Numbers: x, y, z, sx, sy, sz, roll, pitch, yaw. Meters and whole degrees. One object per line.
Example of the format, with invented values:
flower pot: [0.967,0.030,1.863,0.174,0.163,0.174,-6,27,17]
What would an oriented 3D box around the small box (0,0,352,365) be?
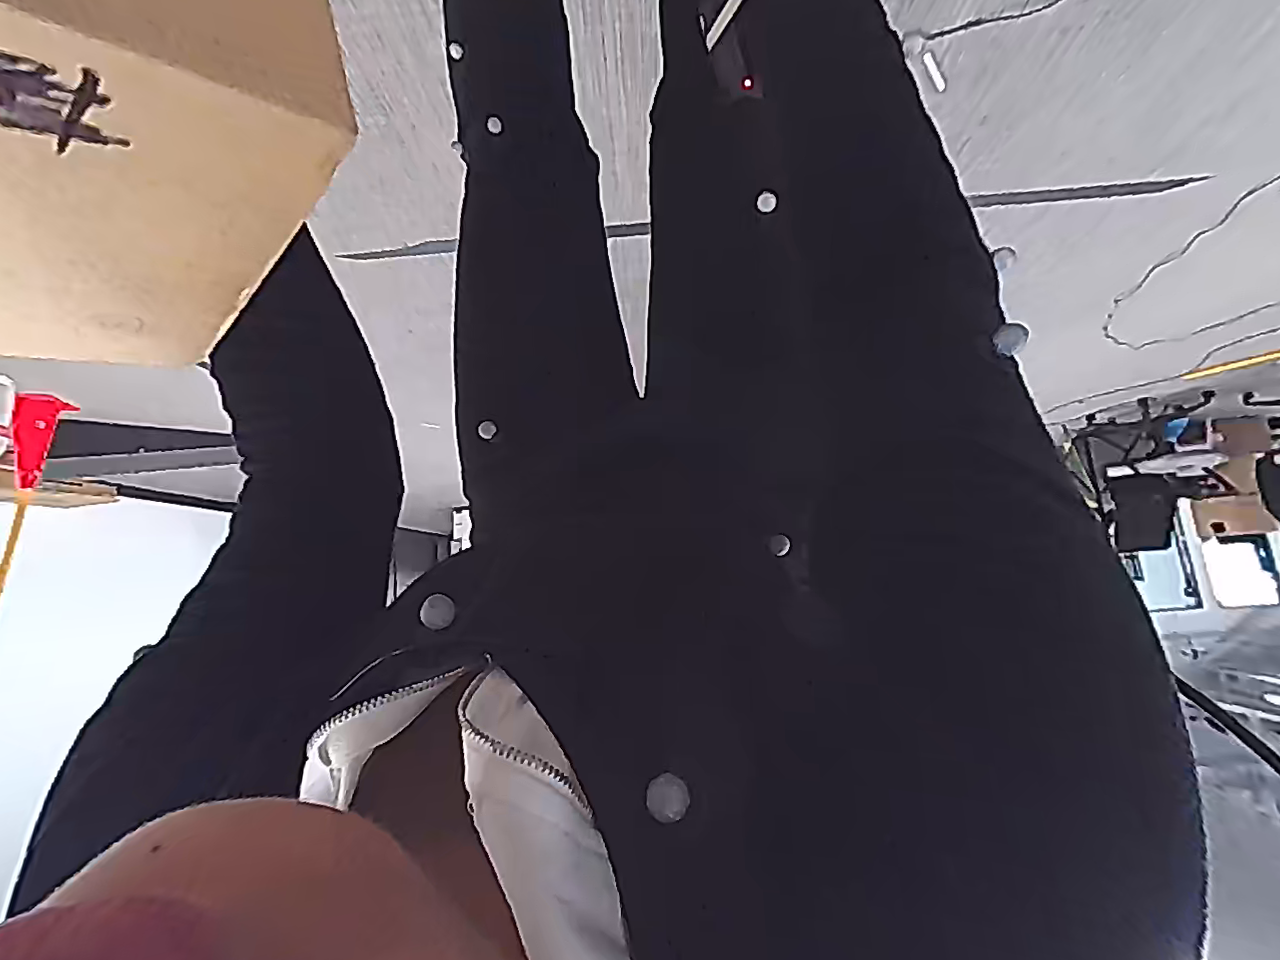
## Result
small box: [-0.199,-0.138,0.124,0.179,0.176,0.168,-13,179,38]
